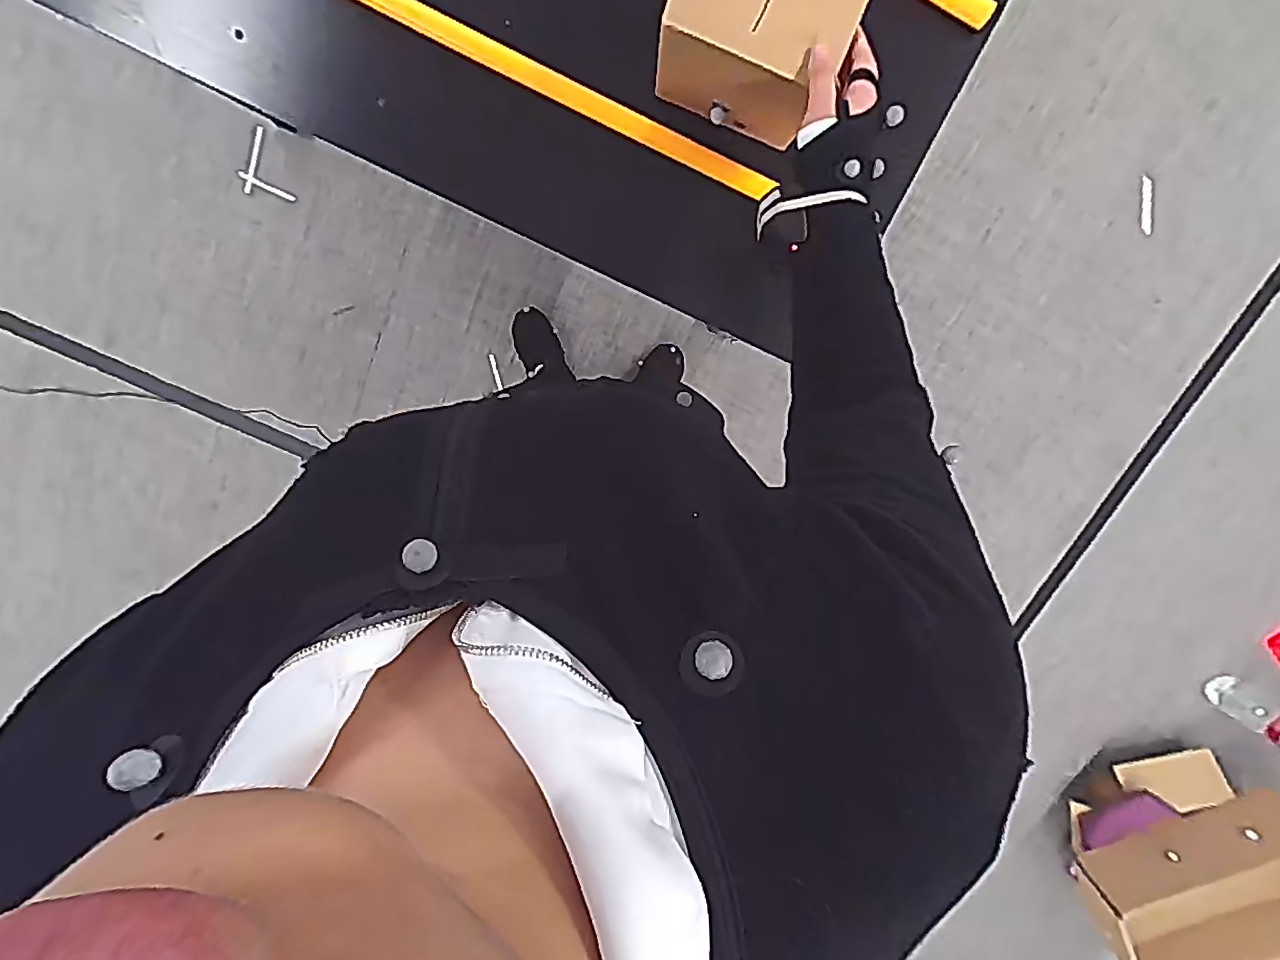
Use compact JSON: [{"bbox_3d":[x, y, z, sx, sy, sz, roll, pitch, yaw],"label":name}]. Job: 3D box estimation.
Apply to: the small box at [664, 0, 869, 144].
[{"bbox_3d":[0.127,-0.479,0.540,0.168,0.176,0.179,20,106,-6],"label":"small box"}]
